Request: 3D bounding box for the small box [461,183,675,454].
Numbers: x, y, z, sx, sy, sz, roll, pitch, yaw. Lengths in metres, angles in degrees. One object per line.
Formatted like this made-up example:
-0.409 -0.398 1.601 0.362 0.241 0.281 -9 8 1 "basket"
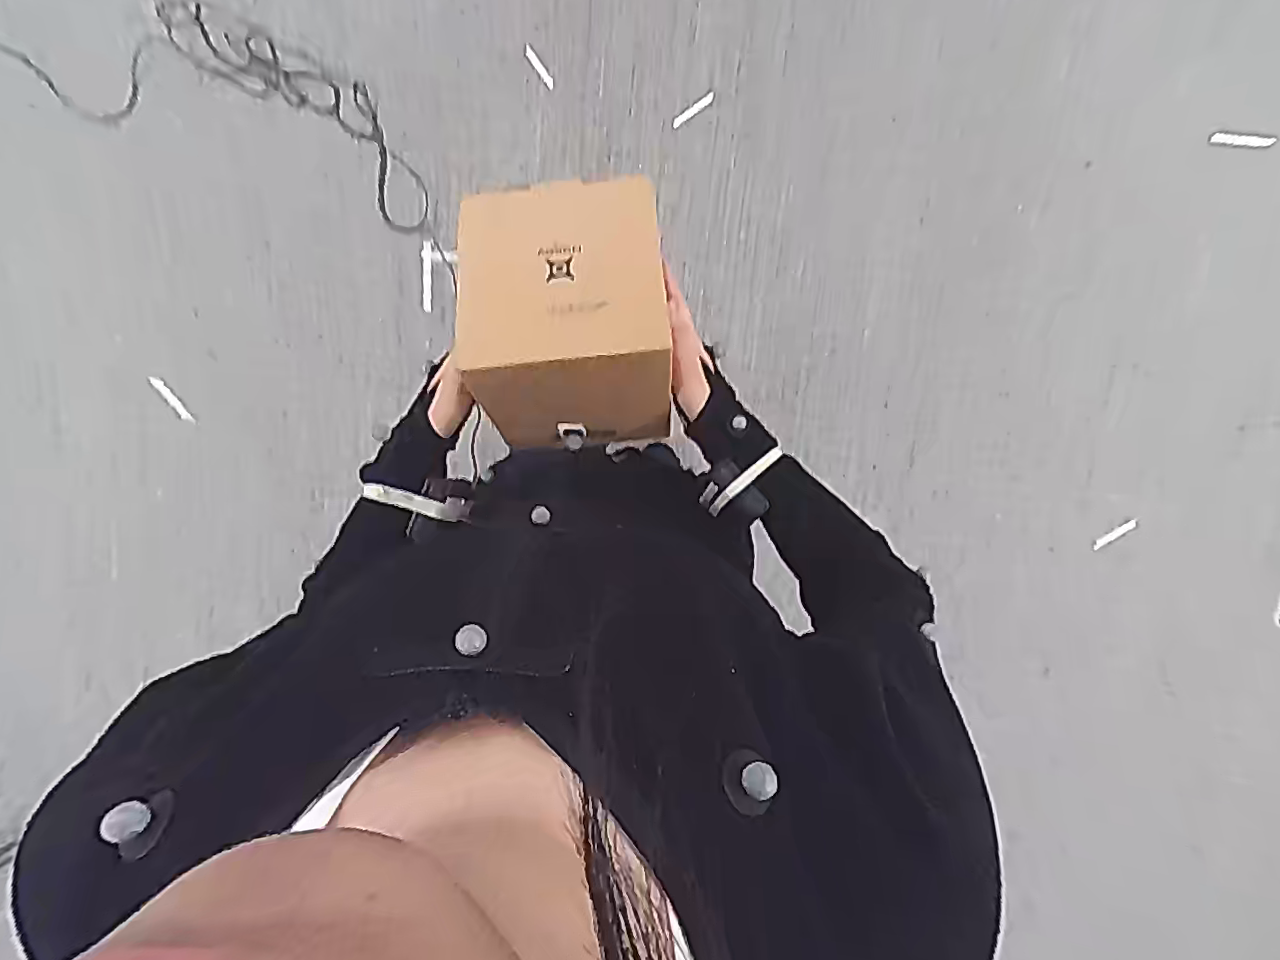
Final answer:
-0.059 -0.142 0.515 0.168 0.176 0.179 -6 70 1 "small box"
